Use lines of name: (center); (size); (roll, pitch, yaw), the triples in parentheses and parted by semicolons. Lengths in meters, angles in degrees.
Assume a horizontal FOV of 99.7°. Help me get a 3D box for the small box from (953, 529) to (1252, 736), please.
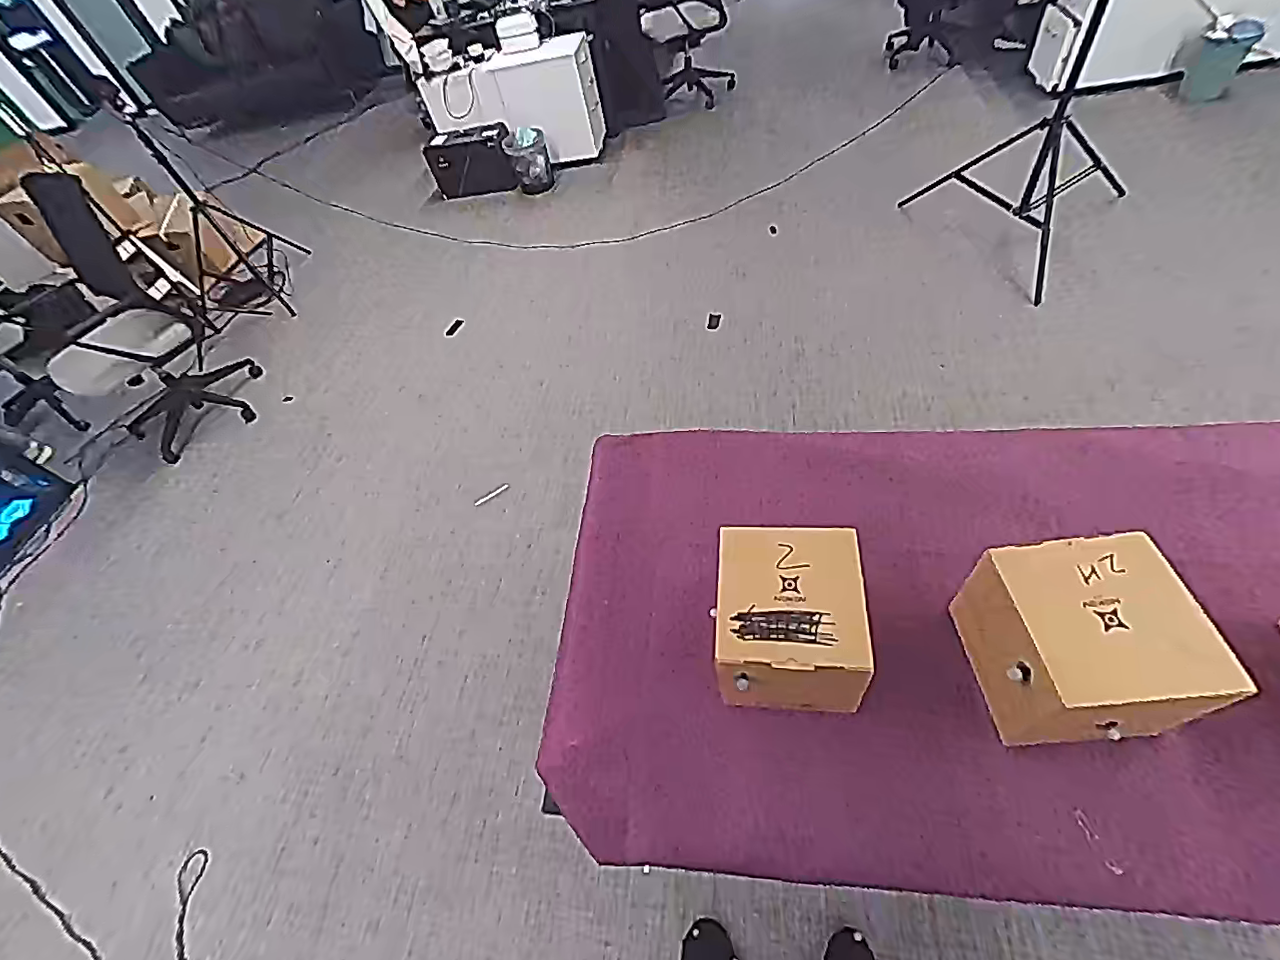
small box: (0.489, 0.180, 0.612); (0.168, 0.176, 0.179); (-8, 51, 7)
